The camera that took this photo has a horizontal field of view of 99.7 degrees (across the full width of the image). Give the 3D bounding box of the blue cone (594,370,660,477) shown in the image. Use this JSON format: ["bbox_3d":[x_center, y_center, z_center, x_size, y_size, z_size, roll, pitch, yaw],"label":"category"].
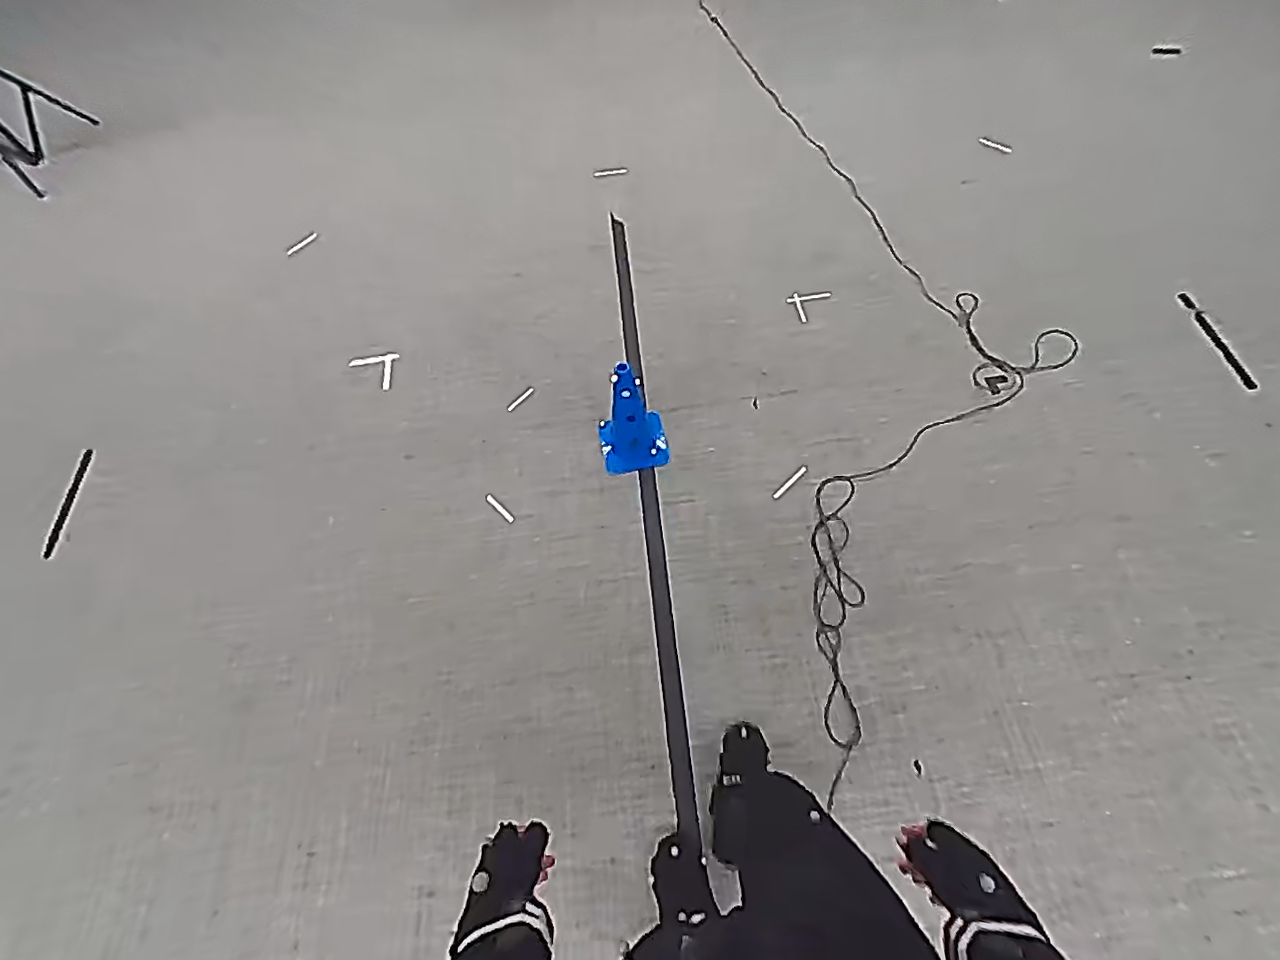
[{"bbox_3d":[-0.054,-0.182,1.538,0.192,0.380,0.193,-11,60,-1],"label":"blue cone"}]
